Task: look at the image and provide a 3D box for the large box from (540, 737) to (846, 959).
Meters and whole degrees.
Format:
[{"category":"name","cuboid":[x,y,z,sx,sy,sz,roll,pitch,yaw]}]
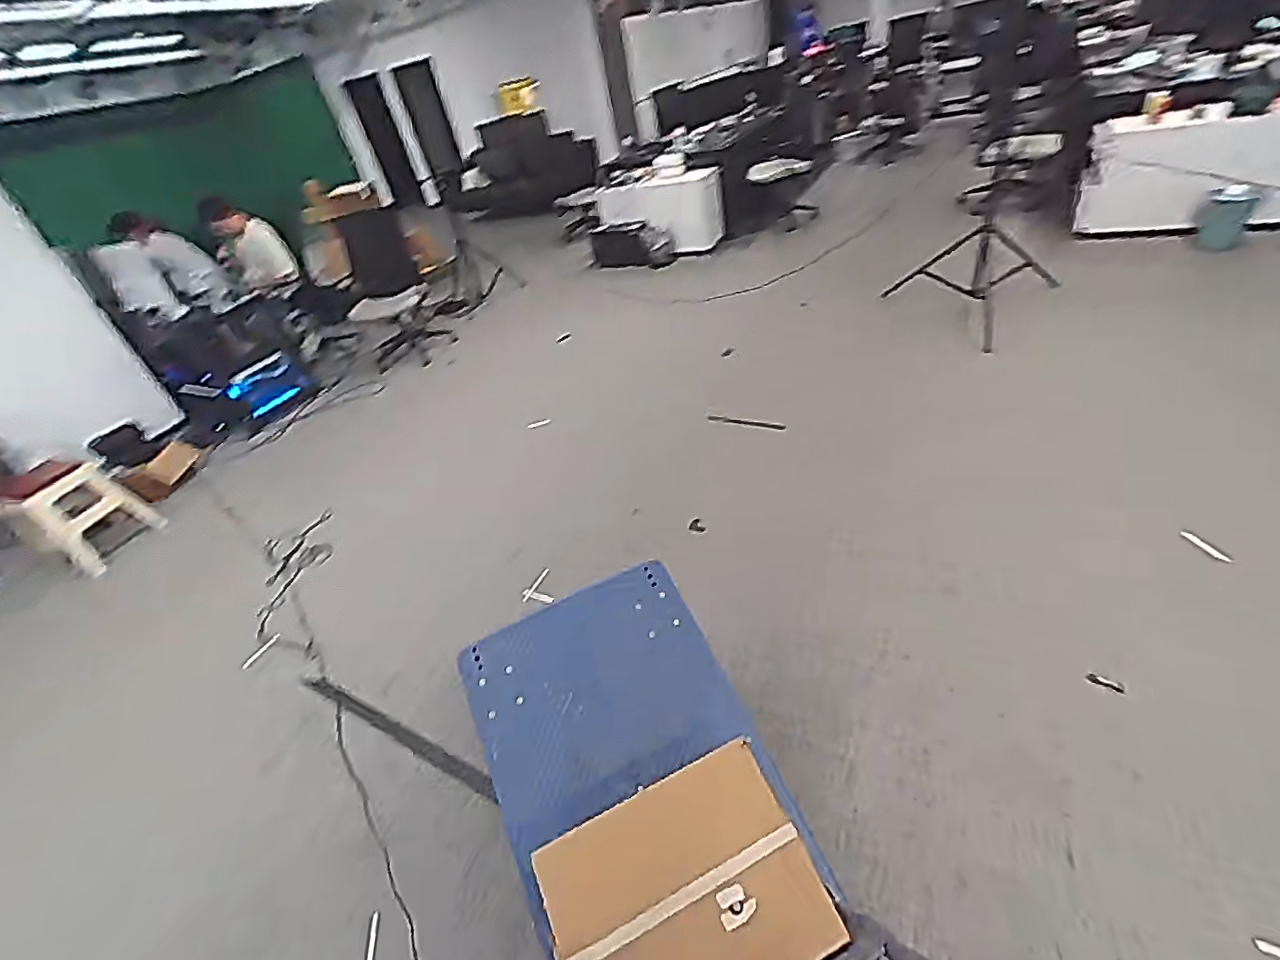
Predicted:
[{"category":"large box","cuboid":[0.080,0.737,0.983,0.408,0.320,0.320,-24,61,-13]}]
